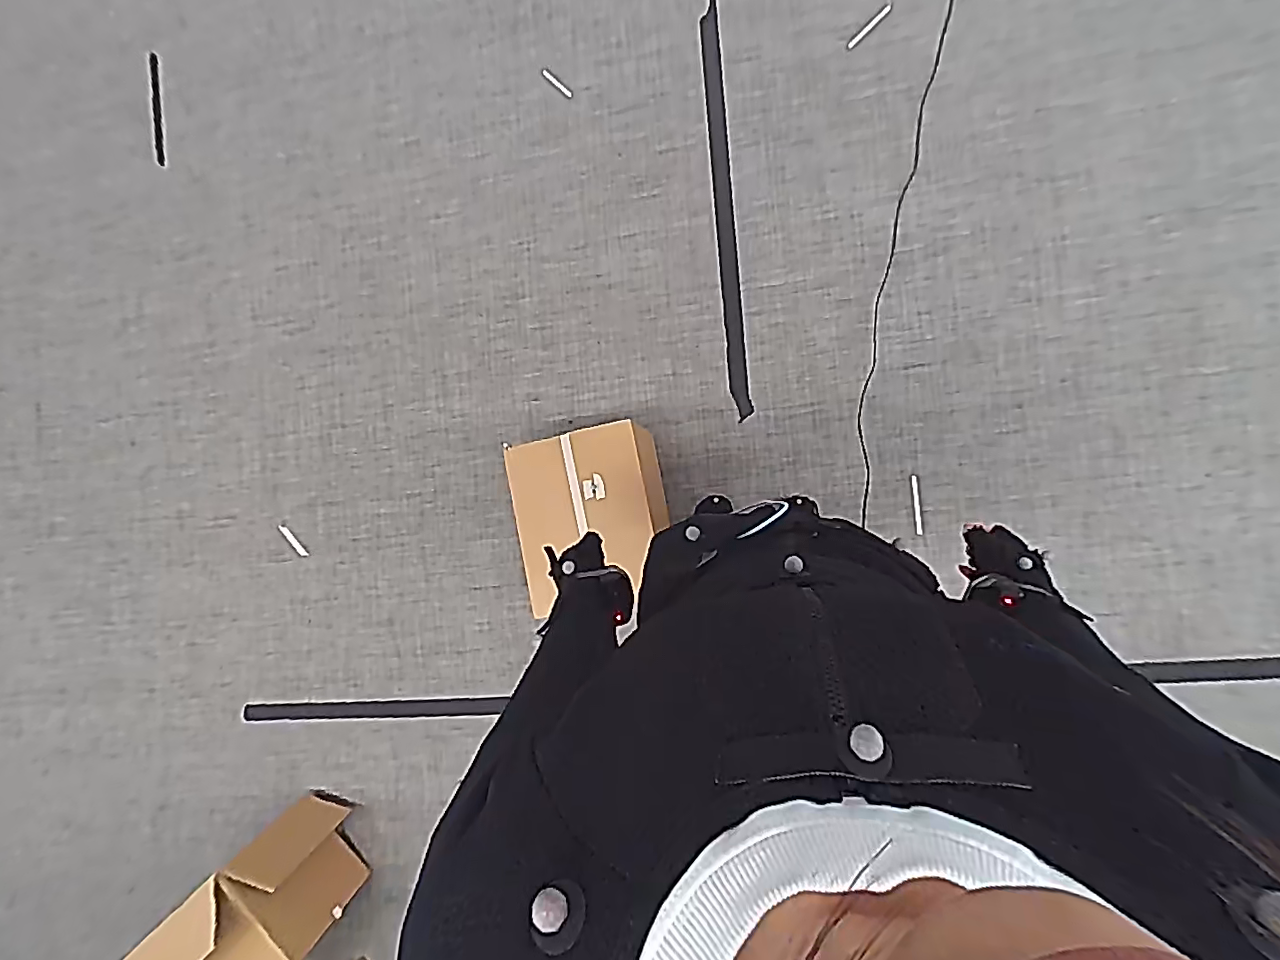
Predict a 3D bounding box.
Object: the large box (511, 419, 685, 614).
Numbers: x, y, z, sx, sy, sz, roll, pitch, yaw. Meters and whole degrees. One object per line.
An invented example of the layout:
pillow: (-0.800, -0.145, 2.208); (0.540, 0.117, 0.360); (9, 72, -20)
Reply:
large box: (-0.091, 0.093, 1.379); (0.320, 0.320, 0.408); (-12, 85, 10)
